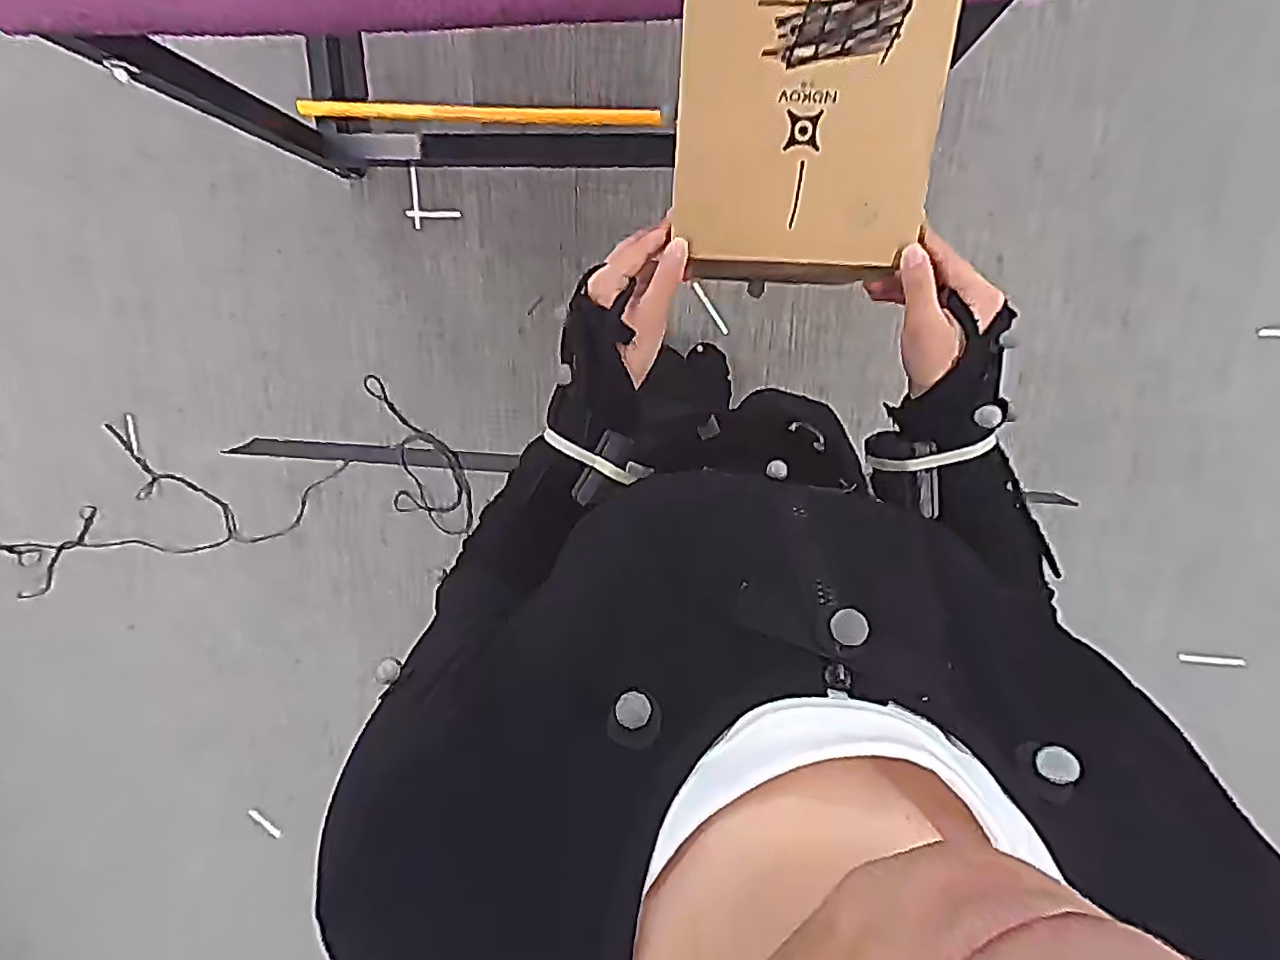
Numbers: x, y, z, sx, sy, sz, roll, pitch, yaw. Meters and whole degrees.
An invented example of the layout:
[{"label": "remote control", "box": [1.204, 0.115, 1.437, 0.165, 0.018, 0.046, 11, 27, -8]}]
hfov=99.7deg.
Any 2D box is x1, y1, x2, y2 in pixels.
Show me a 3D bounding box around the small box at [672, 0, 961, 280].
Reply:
[{"label": "small box", "box": [0.112, -0.260, 0.419, 0.168, 0.176, 0.179, 4, 106, 3]}]
